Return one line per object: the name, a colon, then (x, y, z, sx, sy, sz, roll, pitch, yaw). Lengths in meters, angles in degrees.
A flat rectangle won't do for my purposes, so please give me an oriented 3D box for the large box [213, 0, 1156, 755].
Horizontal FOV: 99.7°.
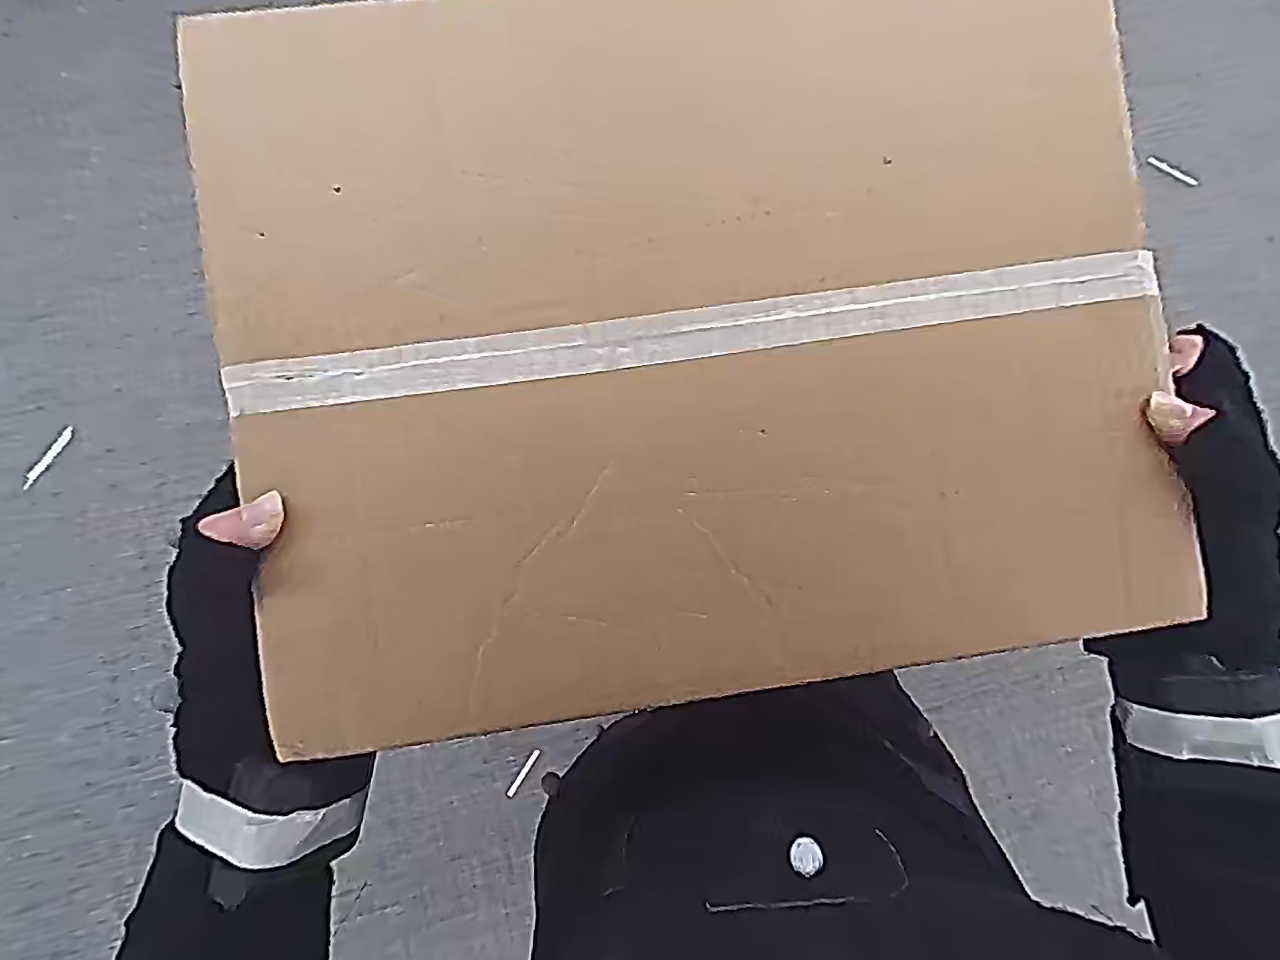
large box: (0.023, -0.058, 0.395, 0.408, 0.320, 0.320, -8, 89, -2)
